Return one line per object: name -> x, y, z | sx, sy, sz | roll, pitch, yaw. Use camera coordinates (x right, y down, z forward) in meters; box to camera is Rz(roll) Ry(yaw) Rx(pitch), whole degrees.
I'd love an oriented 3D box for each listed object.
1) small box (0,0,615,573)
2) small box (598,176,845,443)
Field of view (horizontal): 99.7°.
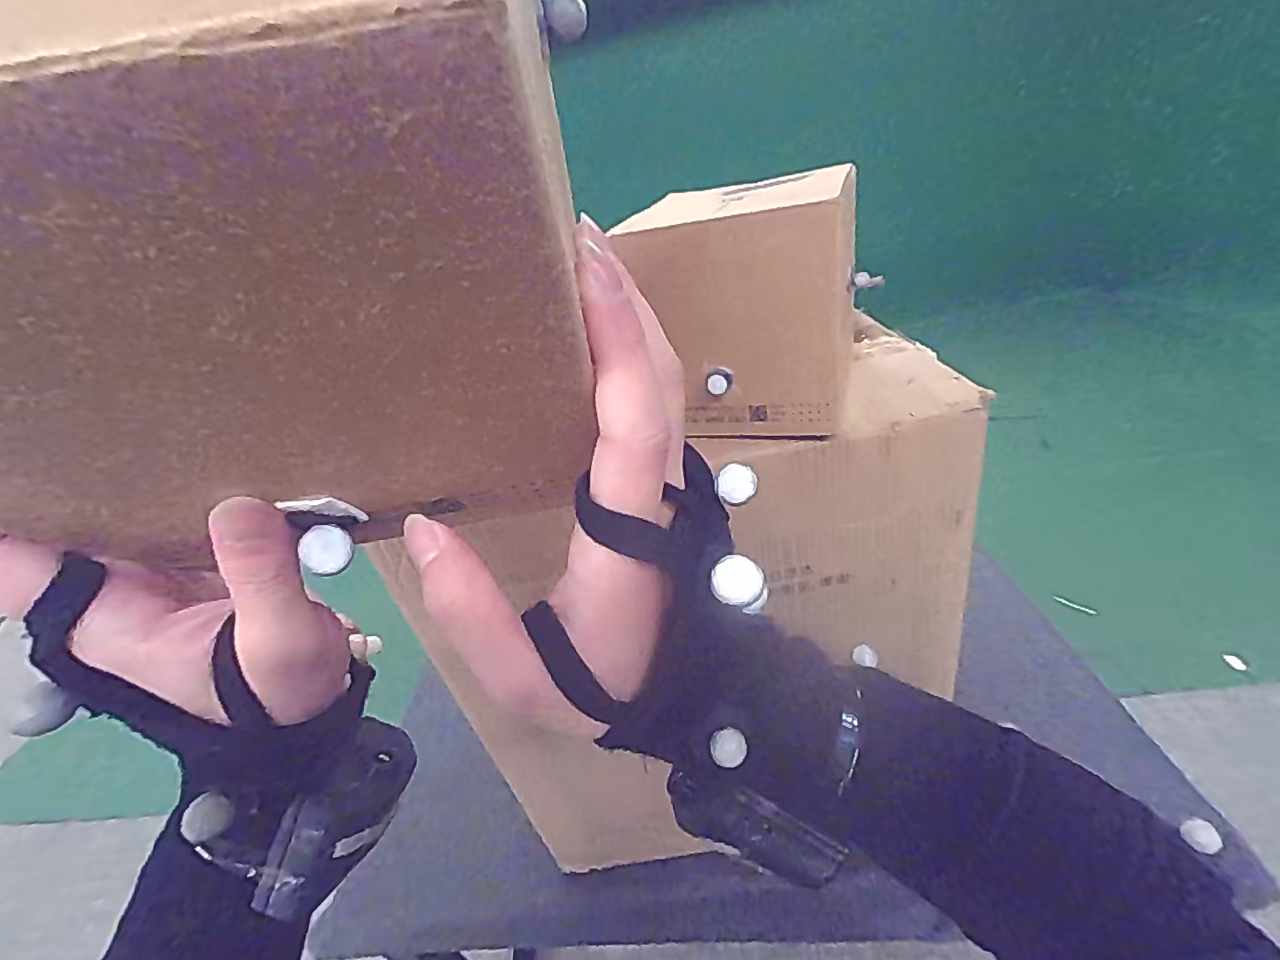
small box -> -0.107, -0.083, 0.169 | 0.168, 0.176, 0.179 | -11, 70, 0
small box -> 0.086, -0.148, 0.472 | 0.168, 0.176, 0.179 | 1, 35, 24
